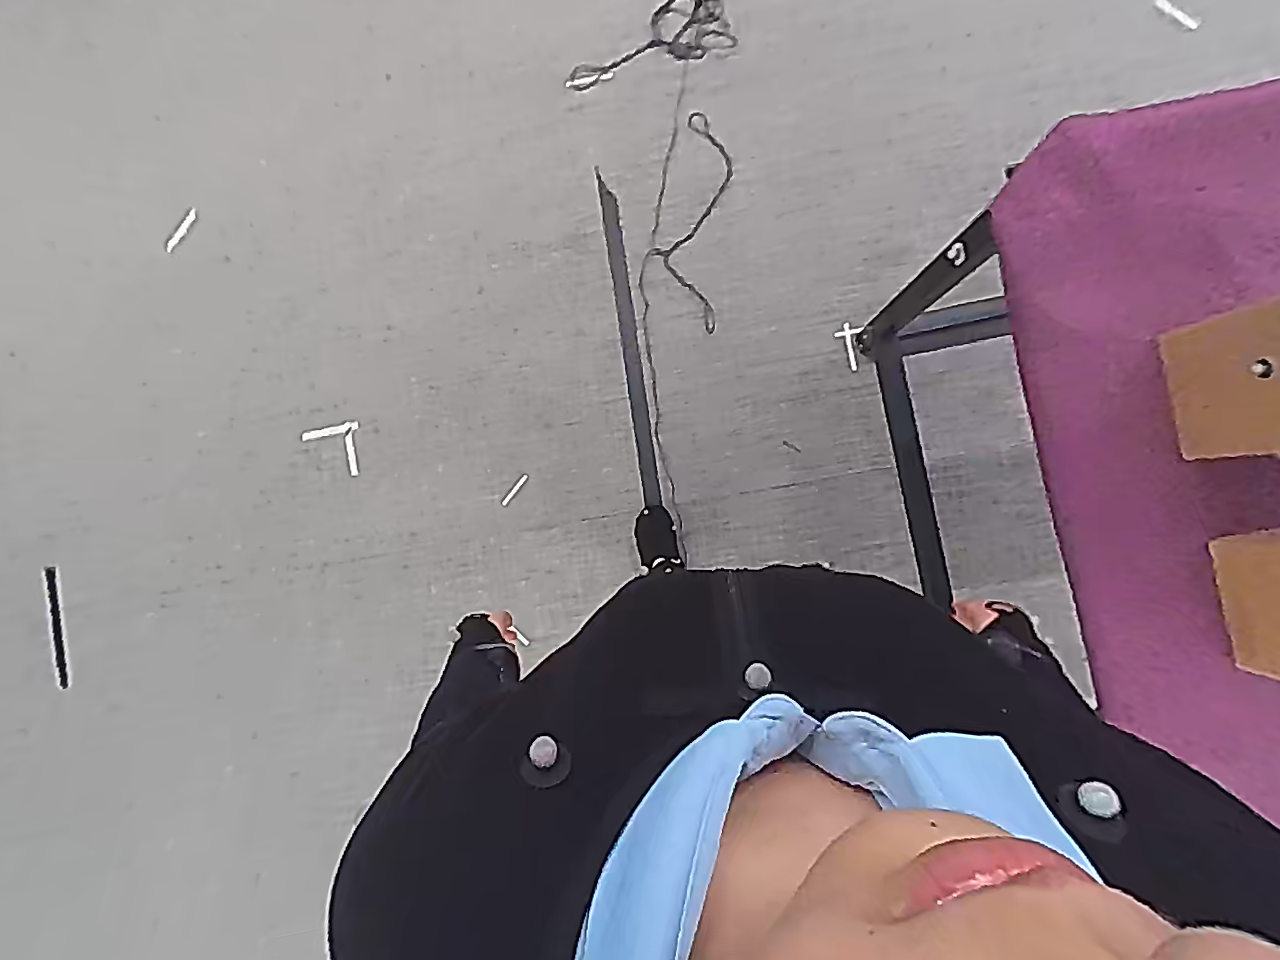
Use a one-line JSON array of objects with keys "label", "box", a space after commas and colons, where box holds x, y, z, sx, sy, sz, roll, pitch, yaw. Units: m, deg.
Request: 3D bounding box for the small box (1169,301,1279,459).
[{"label": "small box", "box": [0.806, -0.127, 0.655, 0.168, 0.176, 0.179, -10, 88, 4]}]

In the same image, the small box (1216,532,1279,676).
[{"label": "small box", "box": [0.861, 0.153, 0.641, 0.168, 0.176, 0.179, -9, 86, 4]}]
